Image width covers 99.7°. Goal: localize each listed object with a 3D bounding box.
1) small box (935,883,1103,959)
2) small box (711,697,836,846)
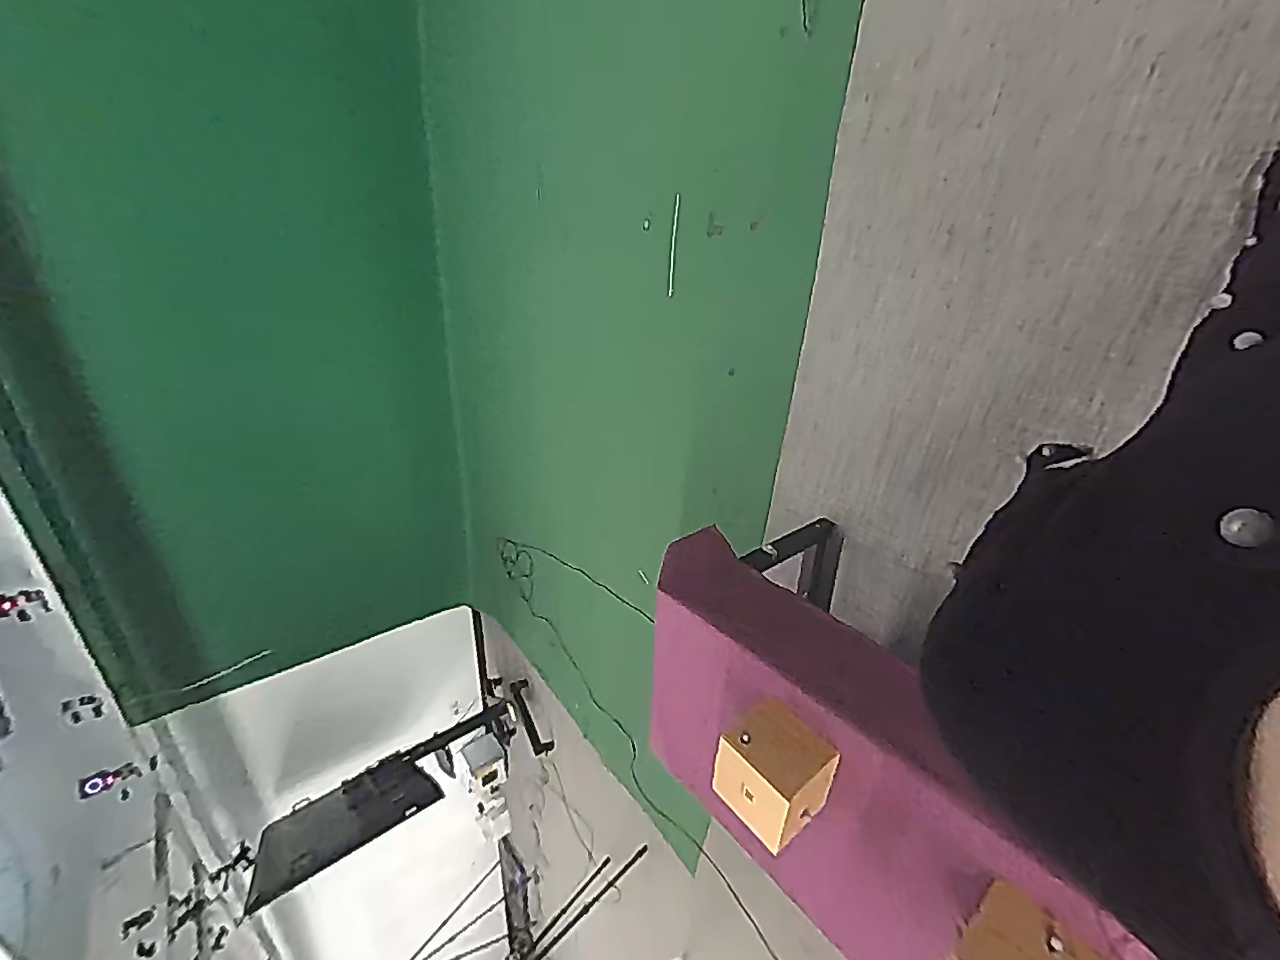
[{"bbox_3d":[0.552,0.743,0.792,0.179,0.176,0.168,31,128,45],"label":"small box"},{"bbox_3d":[0.273,0.587,1.112,0.179,0.176,0.168,32,128,44],"label":"small box"}]
